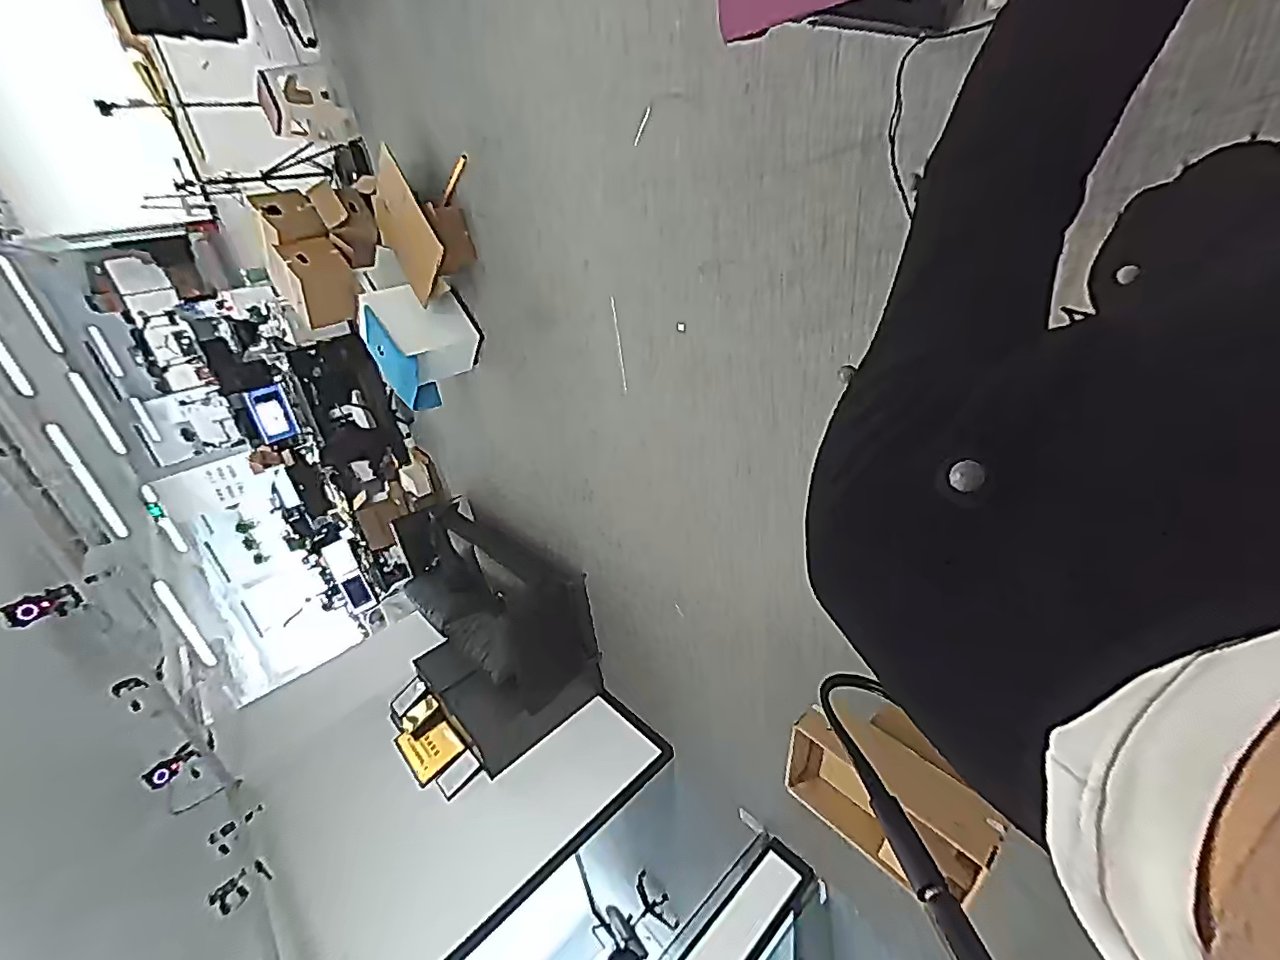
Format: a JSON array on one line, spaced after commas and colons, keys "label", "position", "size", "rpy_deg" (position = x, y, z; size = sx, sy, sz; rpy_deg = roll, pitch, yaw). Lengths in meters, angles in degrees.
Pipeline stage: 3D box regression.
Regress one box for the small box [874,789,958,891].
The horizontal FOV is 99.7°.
[{"label": "small box", "position": [0.869, 1.129, 1.703], "size": [0.168, 0.176, 0.179], "rpy_deg": [29, 134, 38]}]
